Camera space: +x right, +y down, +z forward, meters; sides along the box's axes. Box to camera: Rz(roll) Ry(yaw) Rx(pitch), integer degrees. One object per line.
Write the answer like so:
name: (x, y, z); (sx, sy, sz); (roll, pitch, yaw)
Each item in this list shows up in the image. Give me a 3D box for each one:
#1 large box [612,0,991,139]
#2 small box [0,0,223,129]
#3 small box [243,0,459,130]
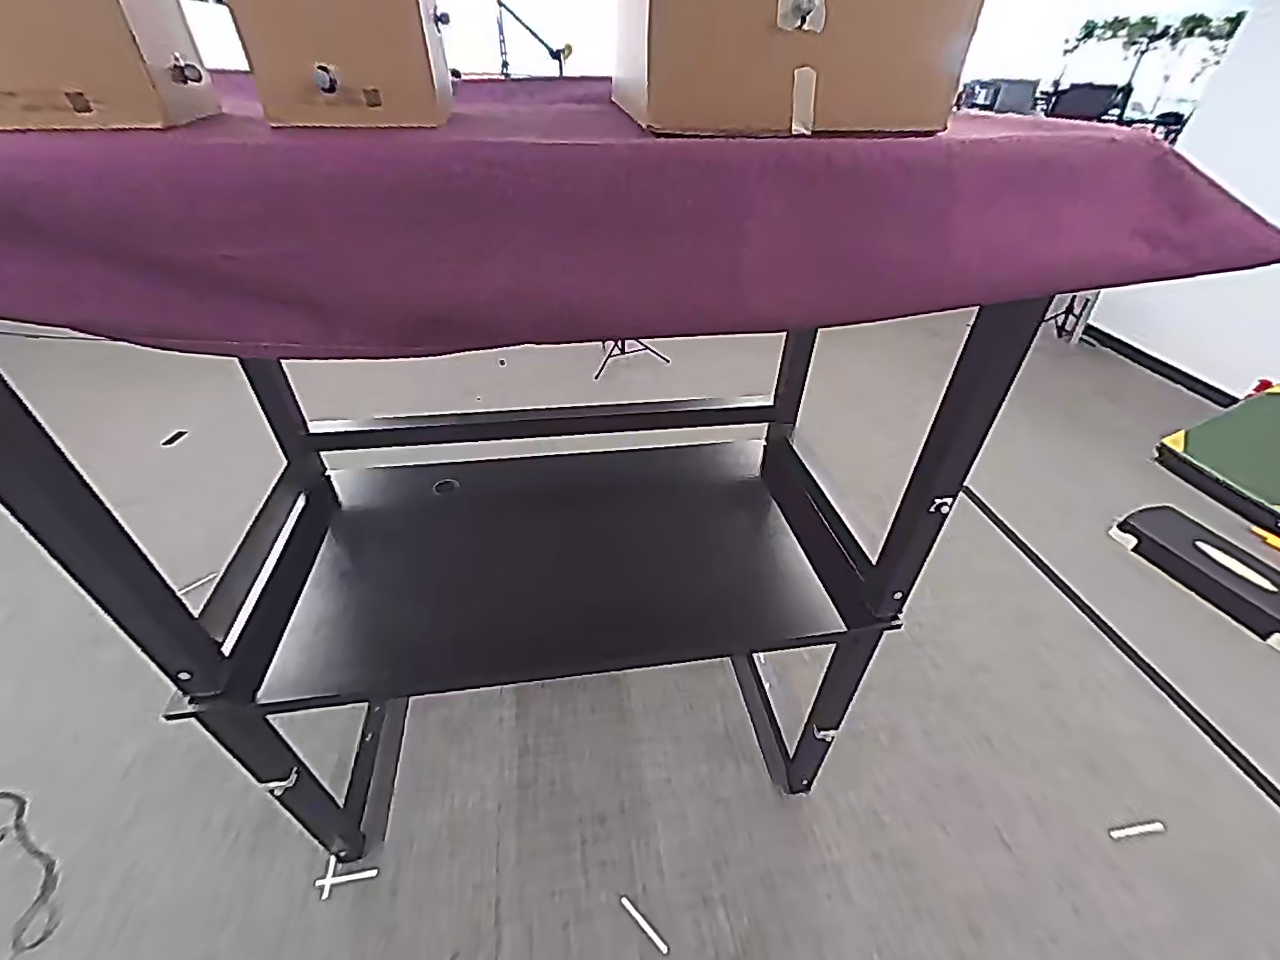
large box: (0.139, -0.572, 0.588); (0.320, 0.320, 0.408); (-3, 37, -7)
small box: (-0.524, -0.430, 0.494); (0.168, 0.176, 0.179); (-10, 39, -14)
small box: (-0.290, -0.471, 0.556); (0.168, 0.176, 0.179); (-6, 39, -8)
